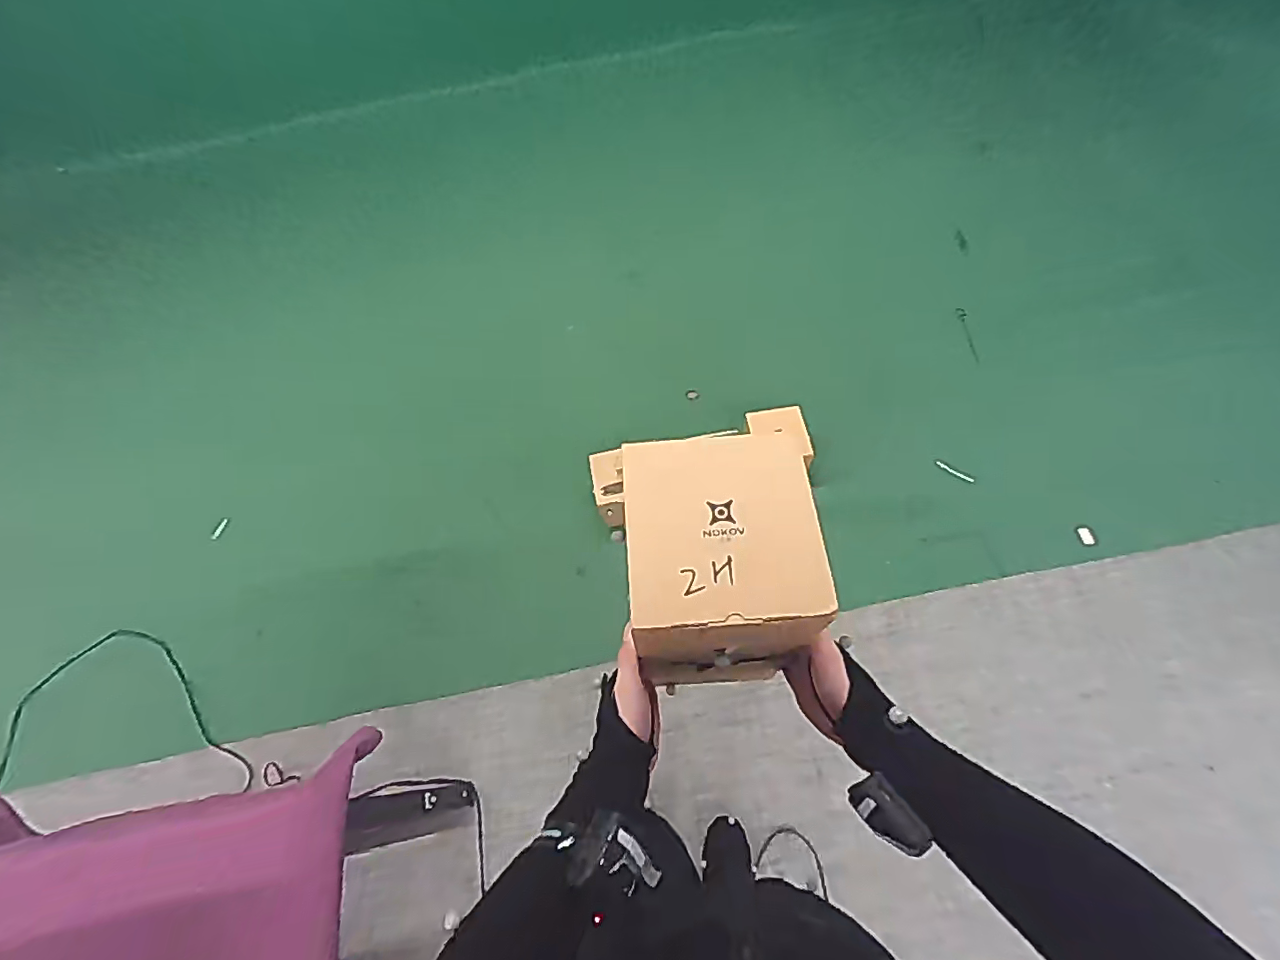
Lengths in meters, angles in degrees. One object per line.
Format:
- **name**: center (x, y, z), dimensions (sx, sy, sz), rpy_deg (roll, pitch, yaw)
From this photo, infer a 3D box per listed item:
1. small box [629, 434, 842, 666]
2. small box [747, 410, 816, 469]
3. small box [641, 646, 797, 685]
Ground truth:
- **small box**: center (0.076, 0.075, 0.531), dimensions (0.168, 0.176, 0.179), rpy_deg (-4, 62, 1)
- **small box**: center (0.425, -0.089, 1.668), dimensions (0.168, 0.176, 0.179), rpy_deg (-9, 63, 1)
- **small box**: center (0.085, 0.154, 0.674), dimensions (0.168, 0.176, 0.179), rpy_deg (-4, 61, 1)
